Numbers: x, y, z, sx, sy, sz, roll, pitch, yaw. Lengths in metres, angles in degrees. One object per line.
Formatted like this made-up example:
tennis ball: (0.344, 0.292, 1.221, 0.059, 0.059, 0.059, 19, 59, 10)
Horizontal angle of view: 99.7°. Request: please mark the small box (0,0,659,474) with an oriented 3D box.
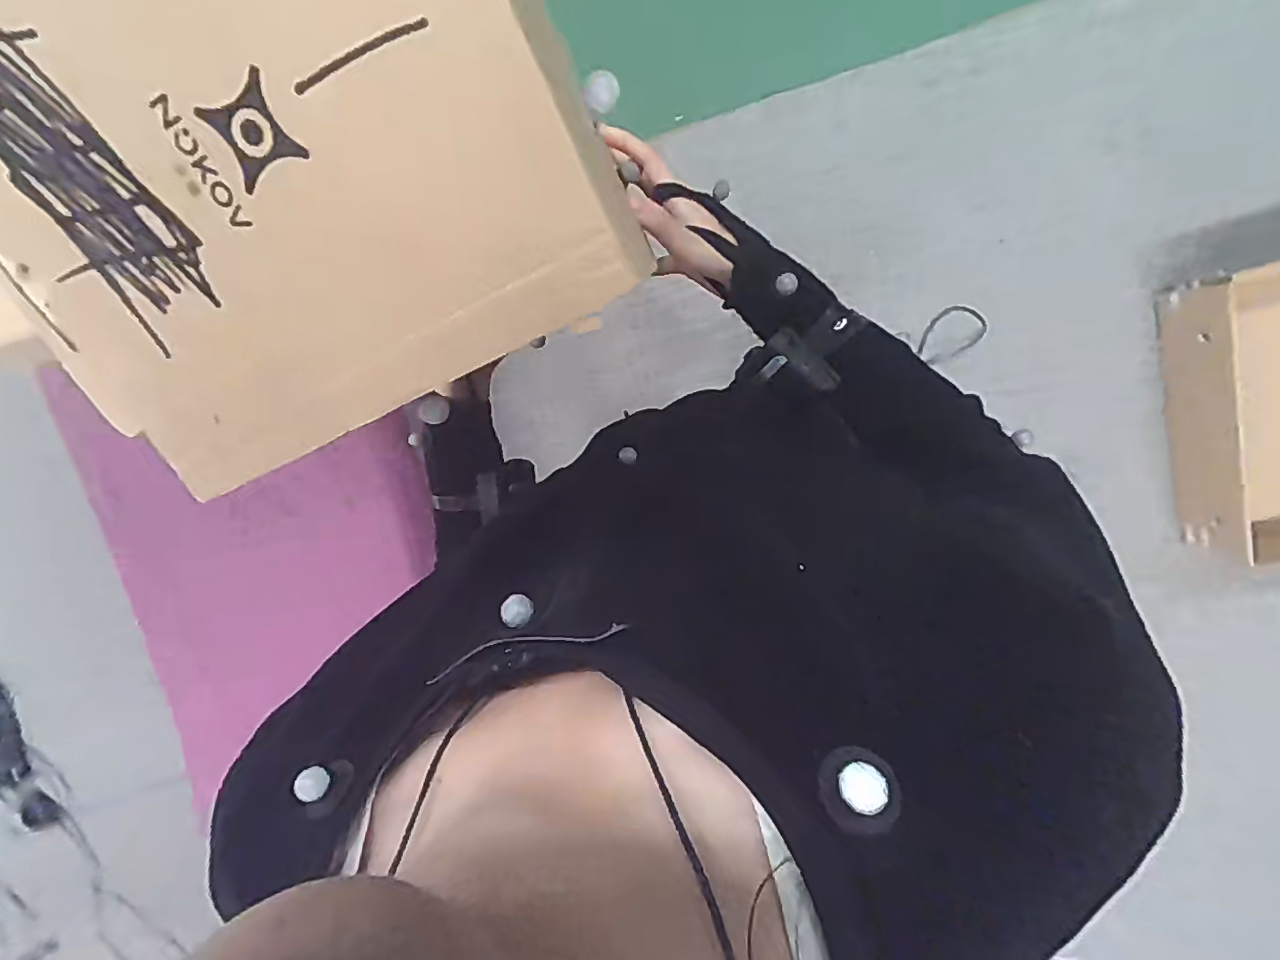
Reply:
small box: (-0.102, -0.130, 0.230, 0.179, 0.176, 0.168, -22, 110, 13)
